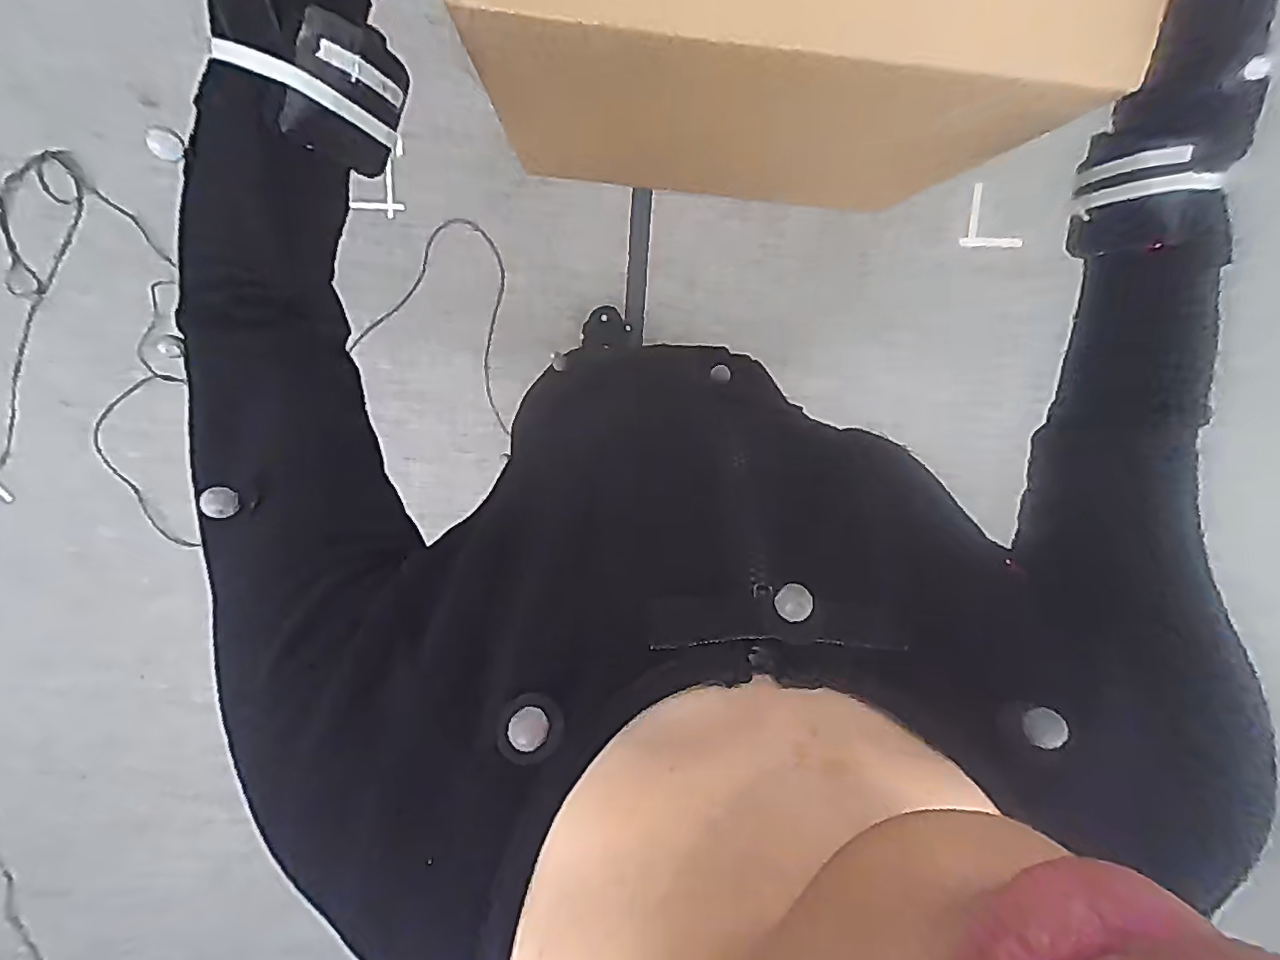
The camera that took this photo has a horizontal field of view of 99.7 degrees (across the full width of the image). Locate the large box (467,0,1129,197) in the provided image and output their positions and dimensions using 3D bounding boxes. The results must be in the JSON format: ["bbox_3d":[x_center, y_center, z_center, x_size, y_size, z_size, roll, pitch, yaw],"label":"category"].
[{"bbox_3d":[0.092,-0.442,0.424,0.408,0.320,0.320,3,105,-5],"label":"large box"}]
